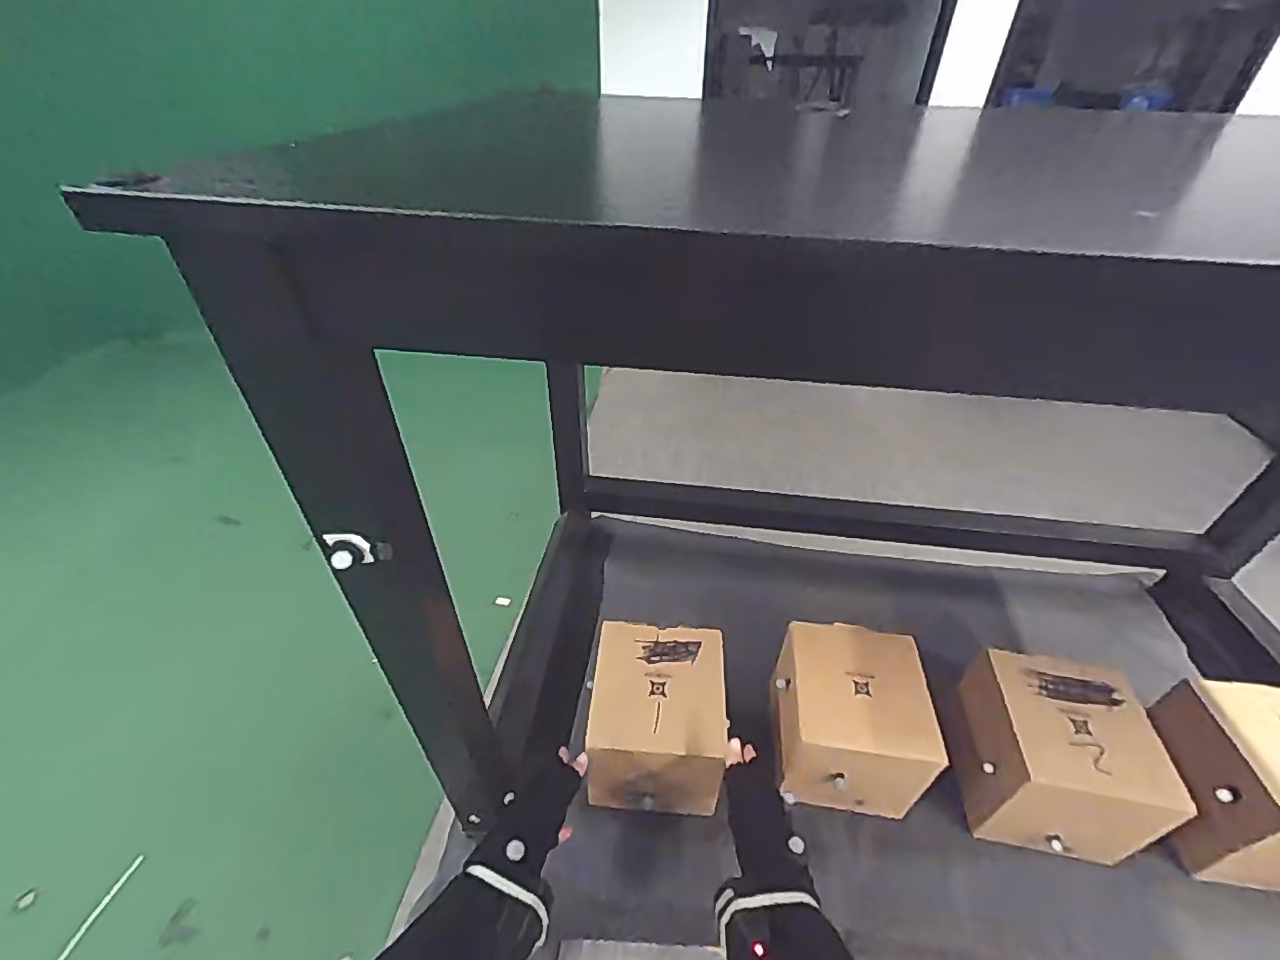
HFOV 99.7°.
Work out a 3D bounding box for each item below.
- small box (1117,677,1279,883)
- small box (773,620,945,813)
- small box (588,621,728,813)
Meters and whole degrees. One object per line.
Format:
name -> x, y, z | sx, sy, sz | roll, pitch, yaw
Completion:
small box -> 0.765, 0.376, 0.672 | 0.168, 0.176, 0.179 | 6, 38, 5
small box -> 0.279, 0.321, 0.736 | 0.168, 0.176, 0.179 | 6, 38, 6
small box -> 0.025, 0.317, 0.732 | 0.168, 0.176, 0.179 | 3, 39, 3
